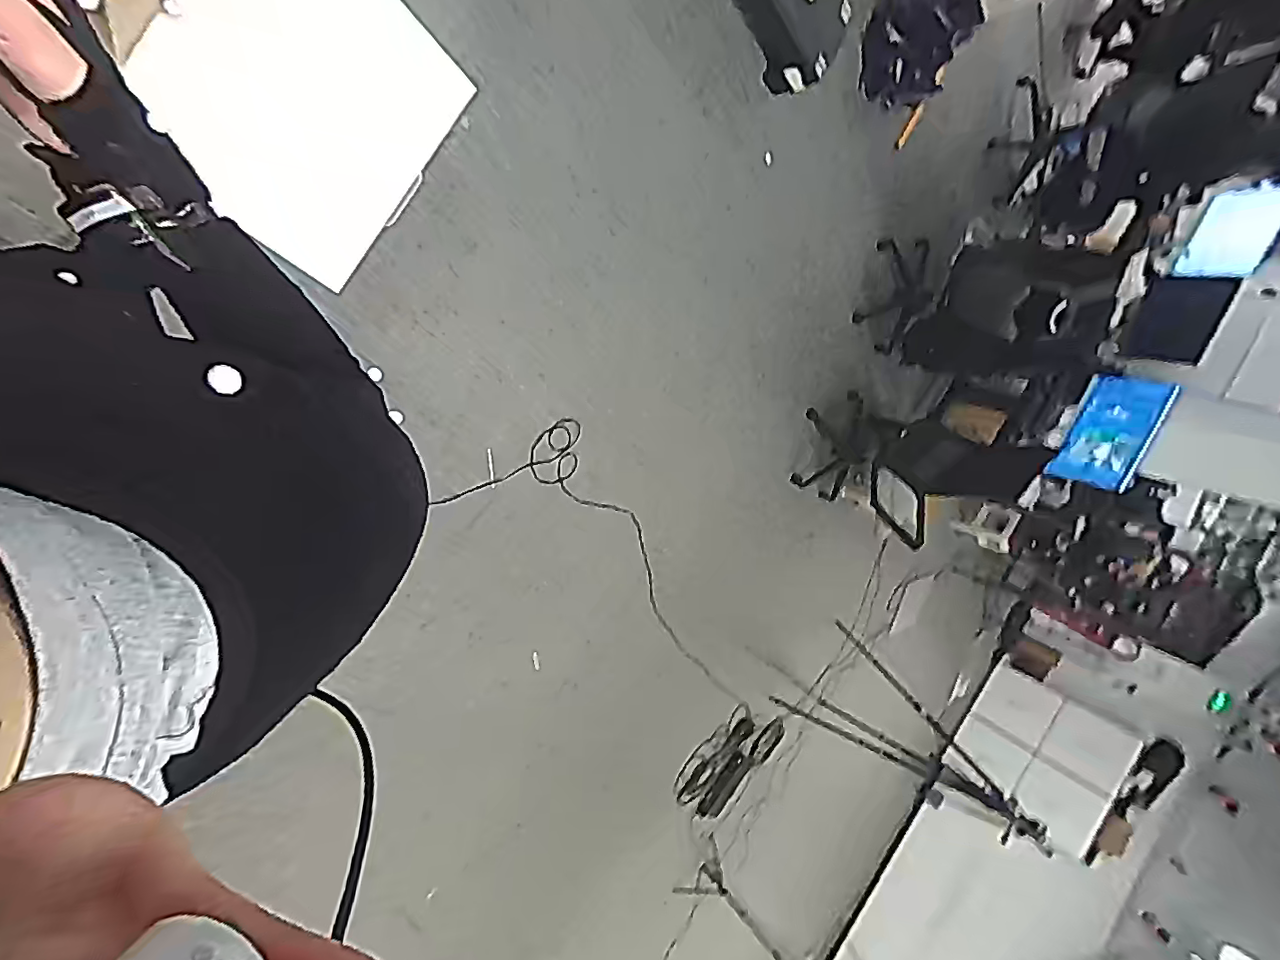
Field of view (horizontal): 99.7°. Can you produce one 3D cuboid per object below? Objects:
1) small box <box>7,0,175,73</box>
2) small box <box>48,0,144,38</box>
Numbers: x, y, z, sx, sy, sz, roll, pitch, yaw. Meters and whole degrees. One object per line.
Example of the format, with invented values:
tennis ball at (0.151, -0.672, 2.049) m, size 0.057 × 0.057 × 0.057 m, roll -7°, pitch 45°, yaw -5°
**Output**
small box at (-0.555, -0.542, 0.514) m, size 0.168 × 0.176 × 0.179 m, roll 33°, pitch 86°, yaw -45°
small box at (-0.454, -0.488, 0.399) m, size 0.168 × 0.176 × 0.179 m, roll 29°, pitch 89°, yaw -44°
